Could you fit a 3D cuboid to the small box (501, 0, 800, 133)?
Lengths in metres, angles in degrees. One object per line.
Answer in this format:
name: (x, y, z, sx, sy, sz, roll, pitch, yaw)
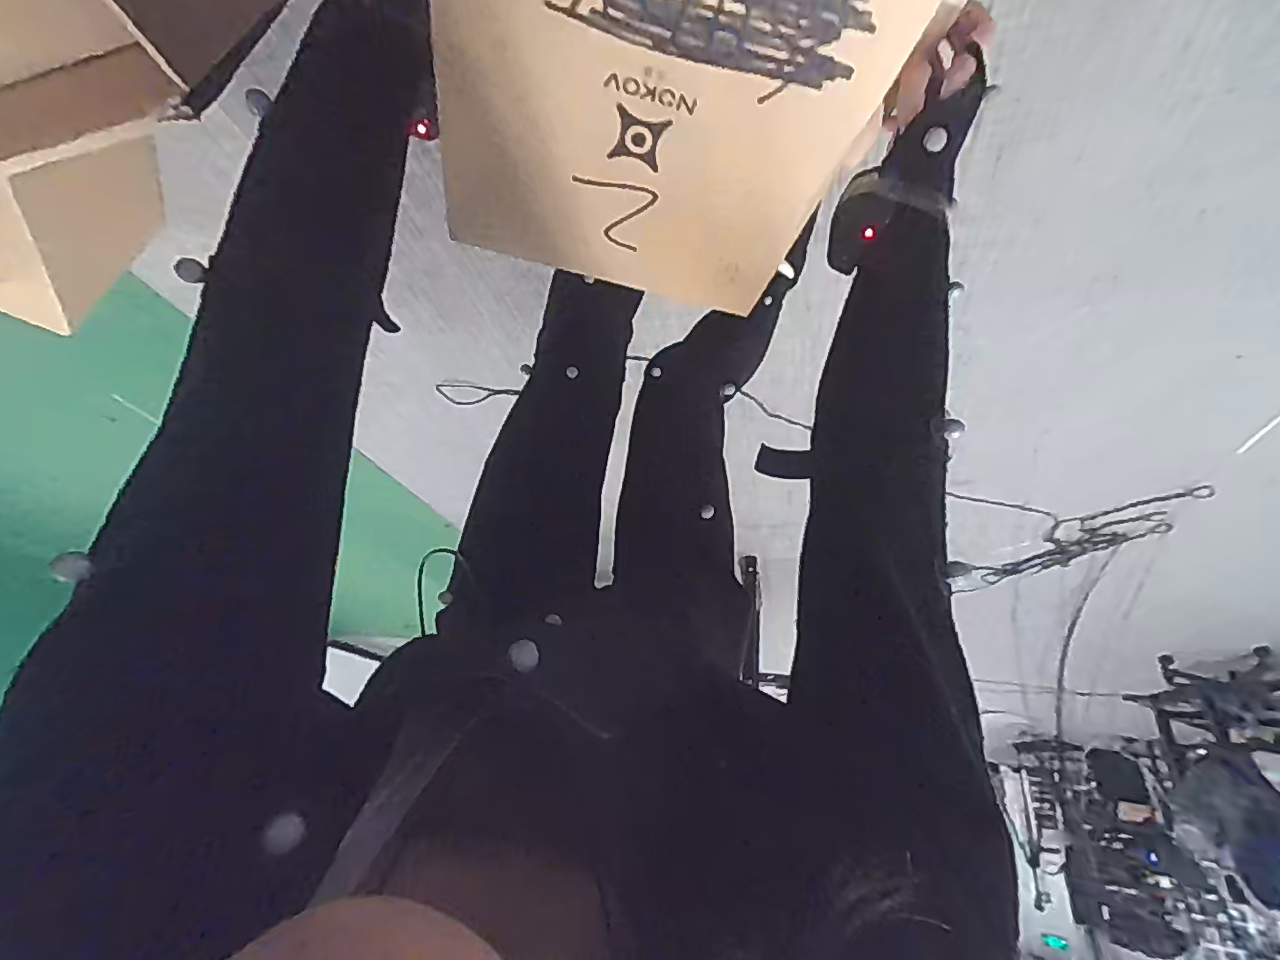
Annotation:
small box: (0.024, -0.368, 0.324, 0.168, 0.176, 0.179, 14, 152, -15)
